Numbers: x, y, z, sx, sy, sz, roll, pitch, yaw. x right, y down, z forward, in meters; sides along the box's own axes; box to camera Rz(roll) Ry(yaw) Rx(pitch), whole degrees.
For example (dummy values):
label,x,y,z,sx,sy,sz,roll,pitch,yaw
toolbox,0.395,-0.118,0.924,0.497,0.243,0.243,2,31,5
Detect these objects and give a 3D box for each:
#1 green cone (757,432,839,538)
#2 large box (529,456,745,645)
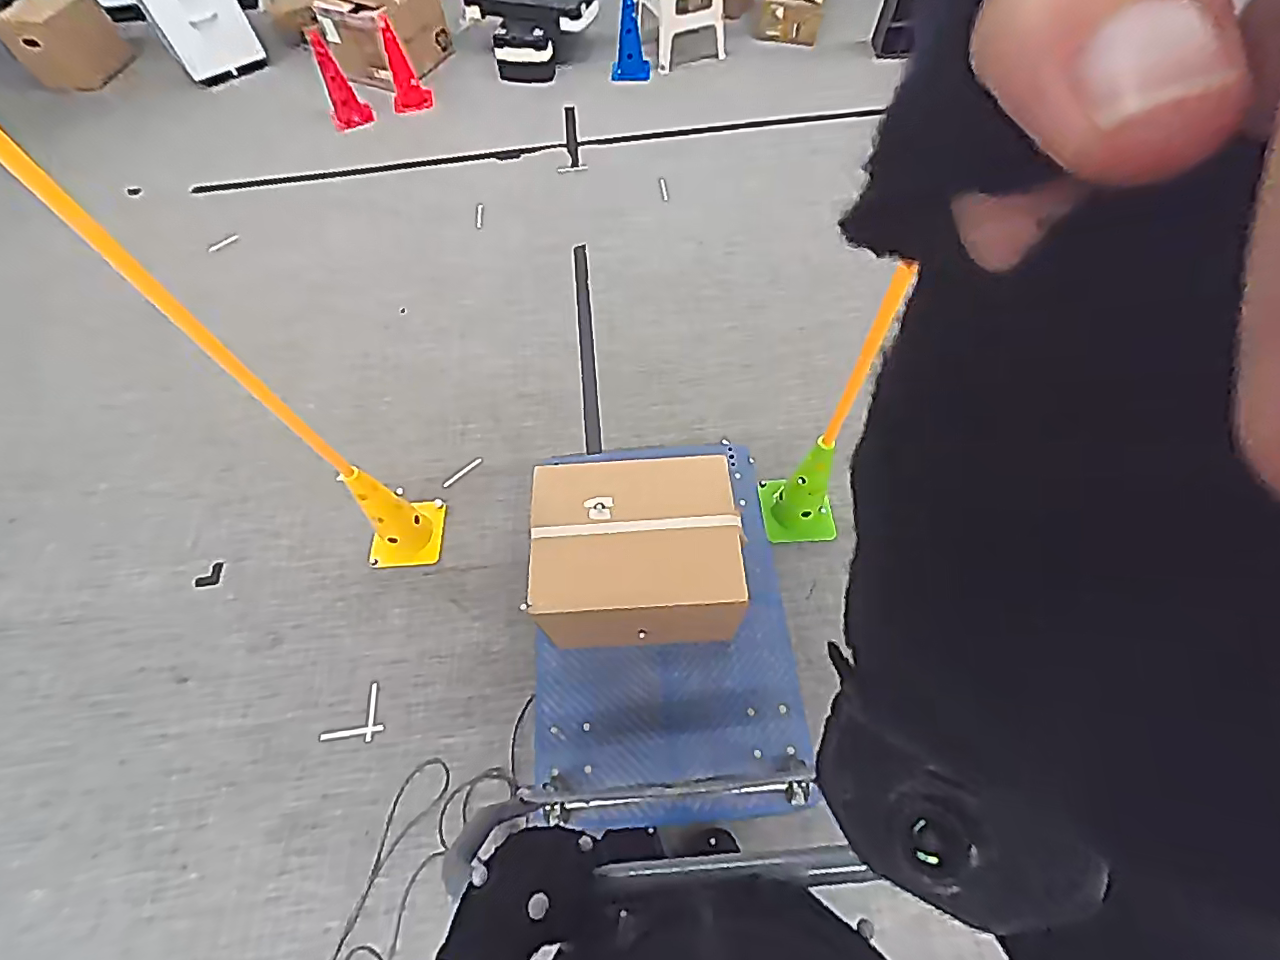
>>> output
label,x,y,z,sx,sy,sz,roll,pitch,yaw
green cone,0.447,-0.007,1.428,0.202,0.368,0.200,-3,61,0
large box,-0.005,0.169,1.187,0.408,0.320,0.320,-4,61,1
